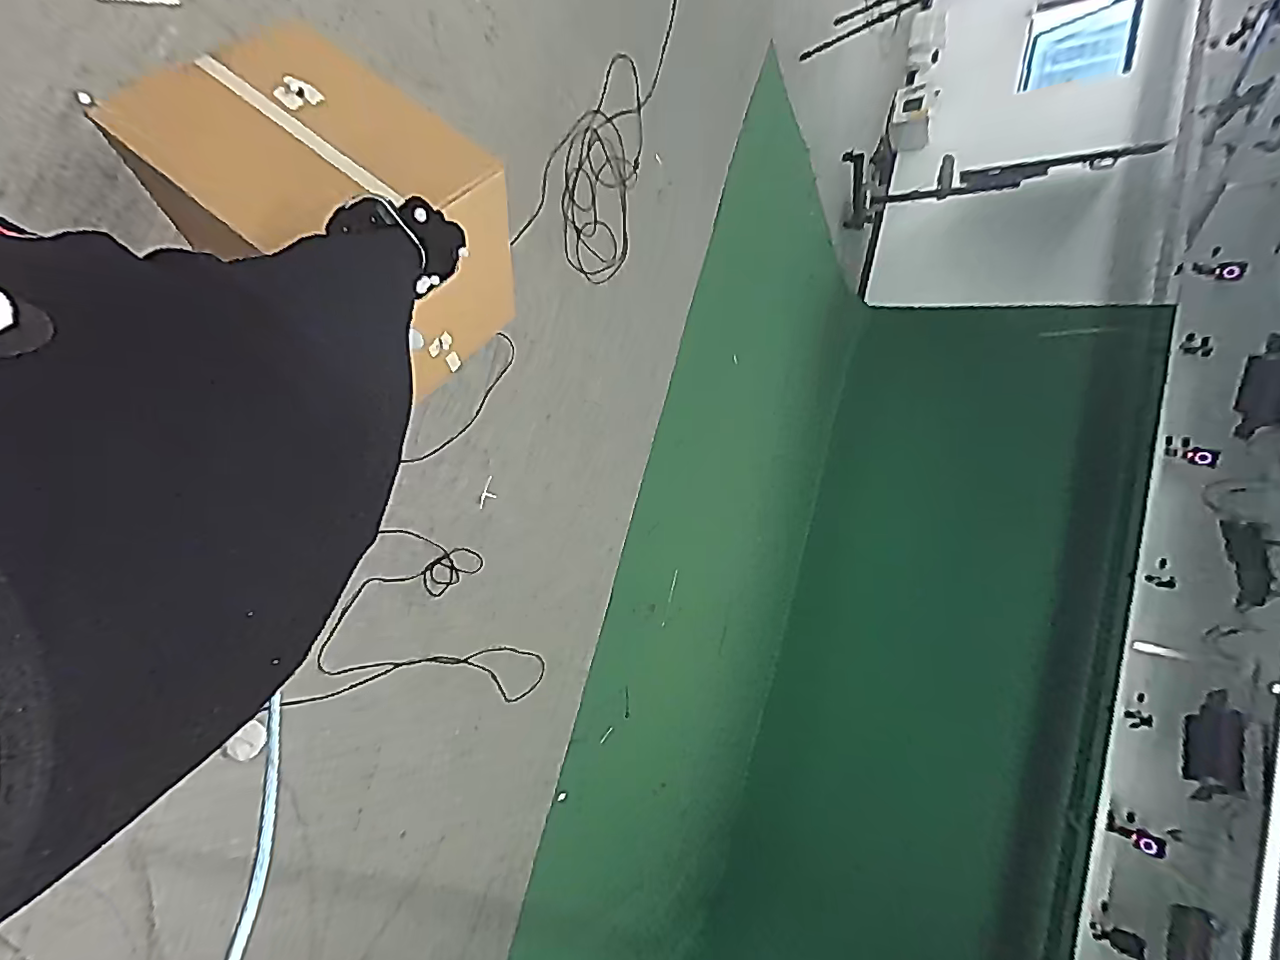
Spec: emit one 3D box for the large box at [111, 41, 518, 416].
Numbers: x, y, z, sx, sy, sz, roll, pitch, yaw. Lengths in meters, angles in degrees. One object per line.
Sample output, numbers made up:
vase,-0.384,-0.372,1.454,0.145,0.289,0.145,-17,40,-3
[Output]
large box,-0.453,-0.379,0.861,0.320,0.408,0.320,-49,171,-24
